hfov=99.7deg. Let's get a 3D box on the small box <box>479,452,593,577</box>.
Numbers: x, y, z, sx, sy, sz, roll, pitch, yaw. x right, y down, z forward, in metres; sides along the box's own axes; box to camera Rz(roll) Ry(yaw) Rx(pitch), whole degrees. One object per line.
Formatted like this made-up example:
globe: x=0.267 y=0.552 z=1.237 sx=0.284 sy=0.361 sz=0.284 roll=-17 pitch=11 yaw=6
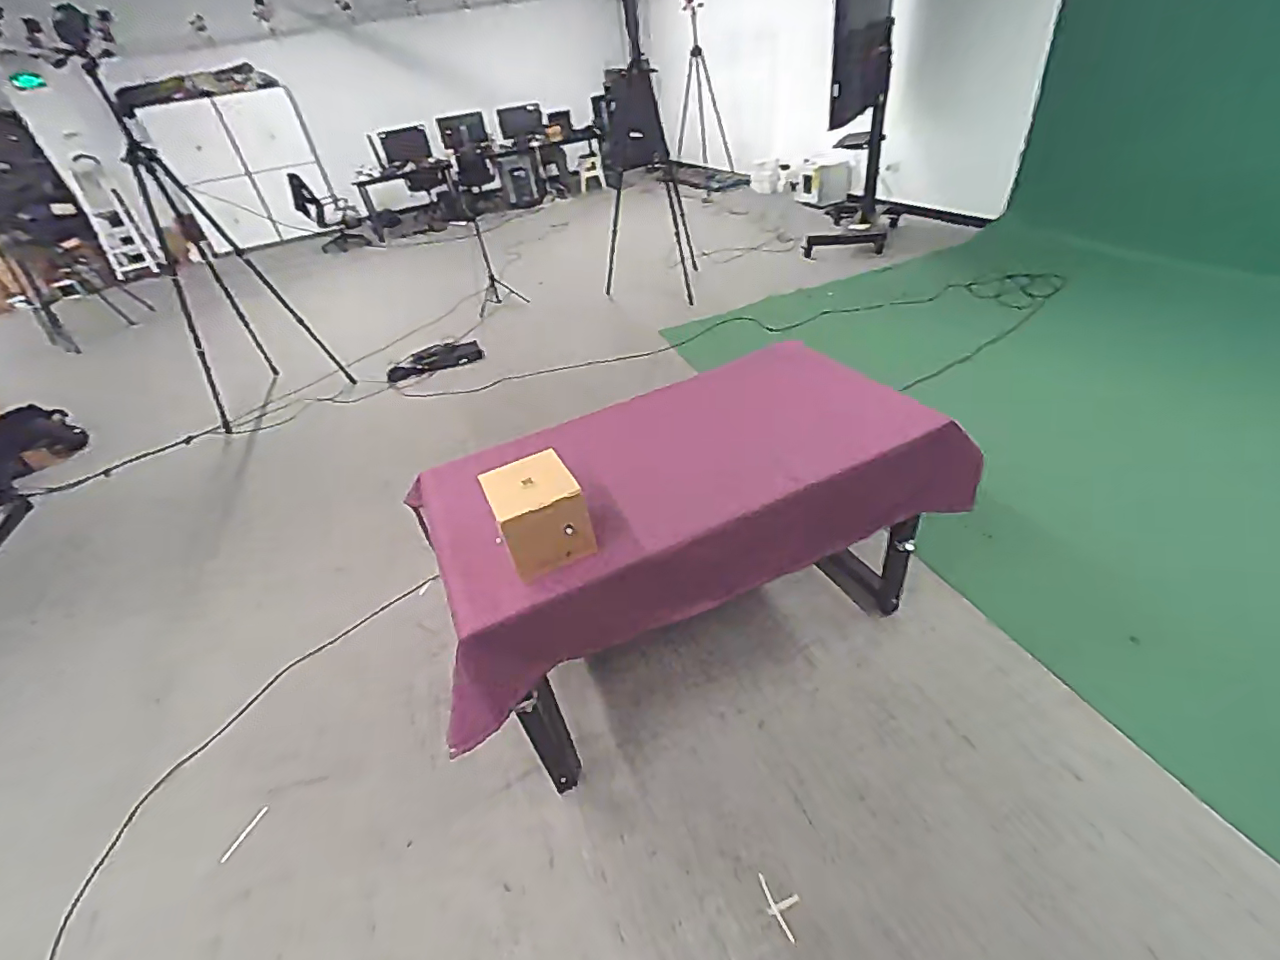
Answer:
small box: x=-0.209 y=0.075 z=1.107 sx=0.168 sy=0.176 sz=0.179 roll=-22 pitch=38 yaw=-17
